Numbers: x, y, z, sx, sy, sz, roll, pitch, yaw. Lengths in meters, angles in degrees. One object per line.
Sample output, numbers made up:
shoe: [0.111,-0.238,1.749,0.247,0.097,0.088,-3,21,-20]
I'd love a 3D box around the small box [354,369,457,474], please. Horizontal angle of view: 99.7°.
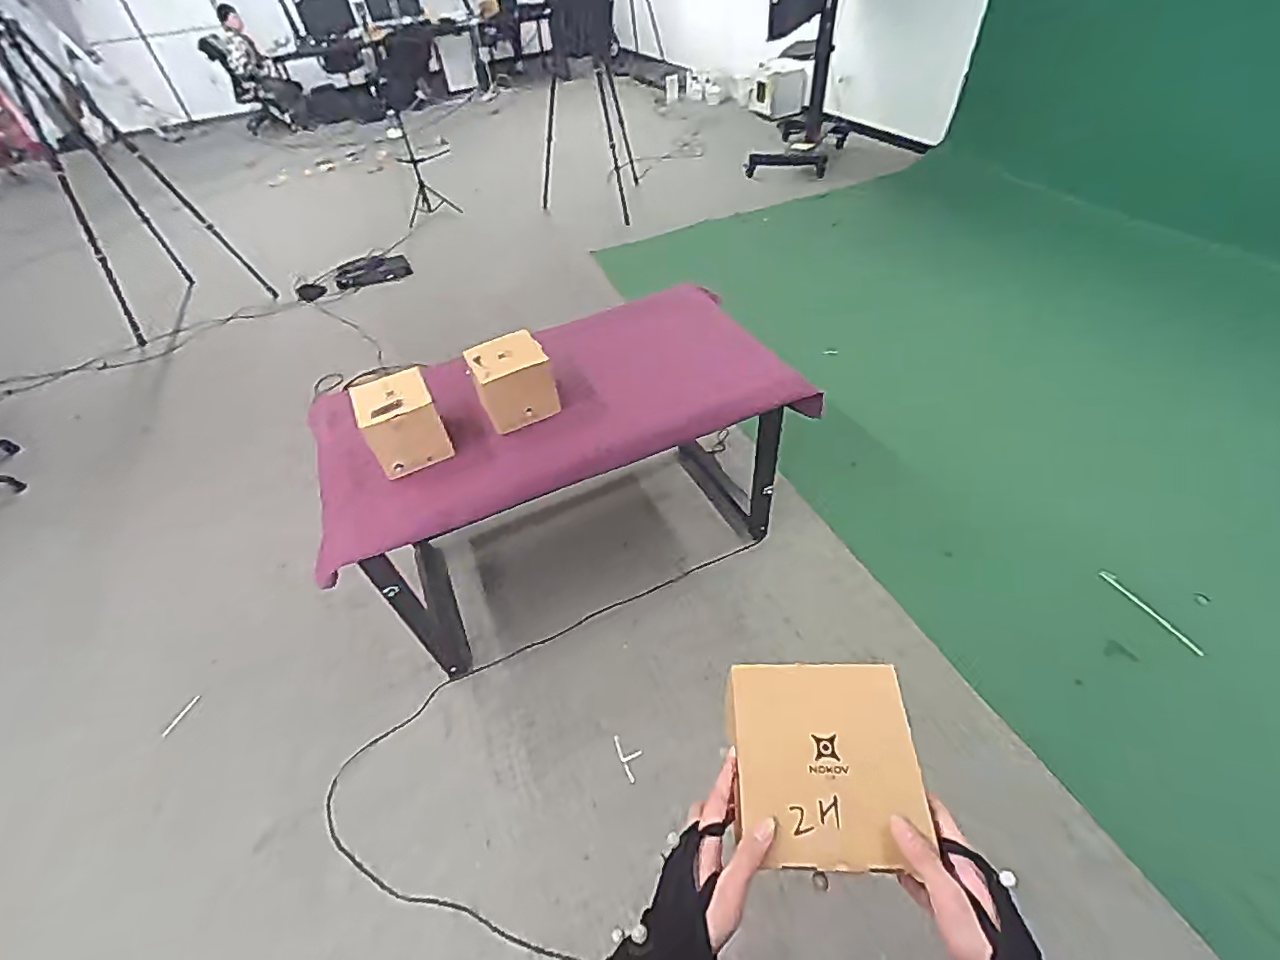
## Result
small box: [-0.565,-0.135,1.315,0.168,0.176,0.179,-23,48,-16]

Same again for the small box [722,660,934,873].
small box: [0.175,0.304,0.571,0.168,0.176,0.179,-2,55,6]

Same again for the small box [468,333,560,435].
small box: [-0.317,-0.246,1.393,0.179,0.176,0.168,-24,49,-16]
